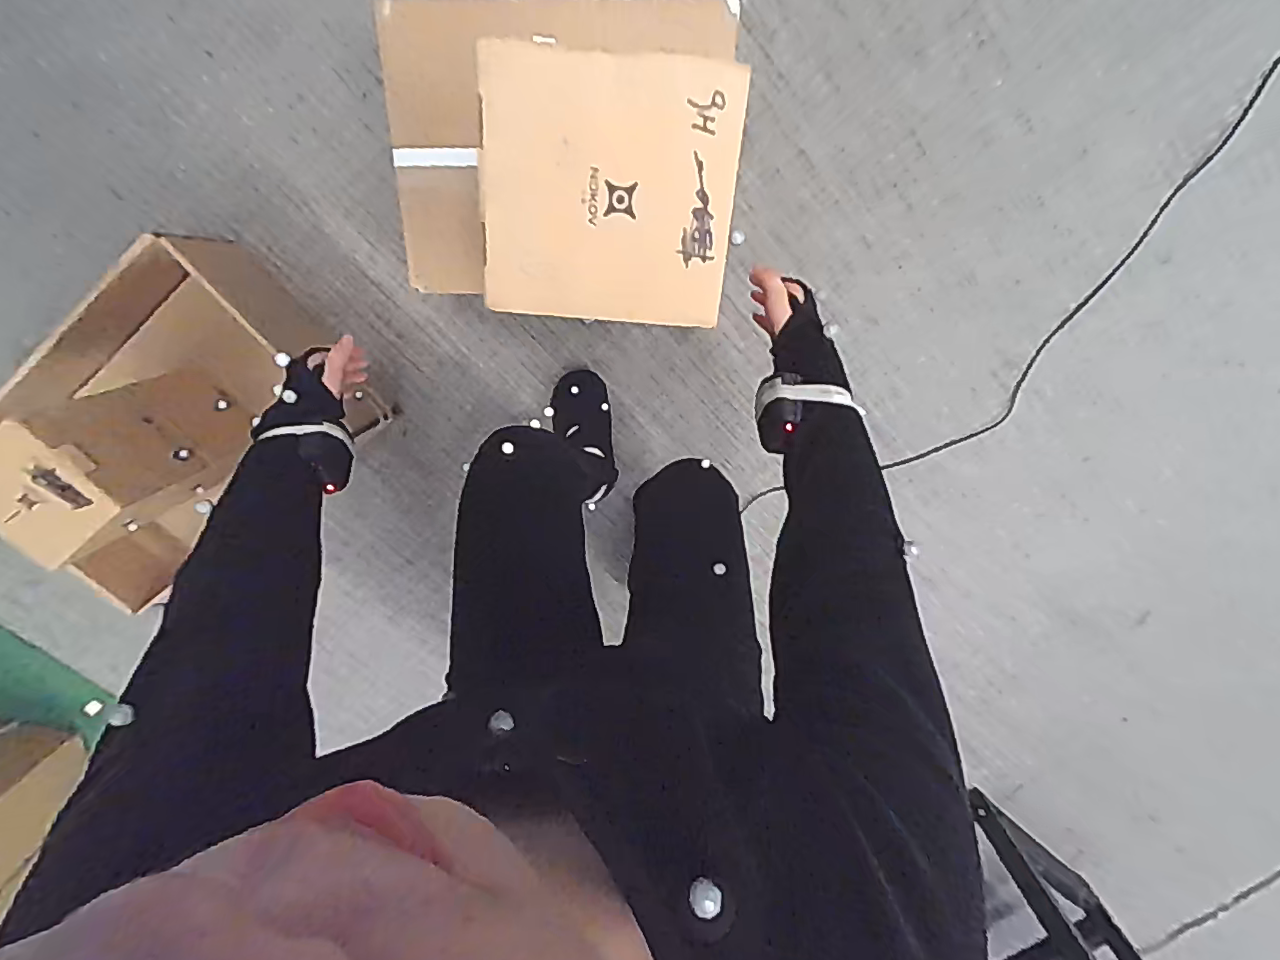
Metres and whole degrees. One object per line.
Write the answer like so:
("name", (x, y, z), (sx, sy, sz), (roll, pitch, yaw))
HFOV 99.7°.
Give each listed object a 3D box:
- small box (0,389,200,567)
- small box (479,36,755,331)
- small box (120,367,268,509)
("small box", (-0.816, -0.012, 0.804), (0.179, 0.176, 0.168), (-34, 108, 14))
("small box", (-0.021, -0.226, 0.442), (0.179, 0.176, 0.168), (5, 115, -2))
("small box", (-0.817, -0.075, 0.956), (0.179, 0.176, 0.168), (-35, 108, 12))
